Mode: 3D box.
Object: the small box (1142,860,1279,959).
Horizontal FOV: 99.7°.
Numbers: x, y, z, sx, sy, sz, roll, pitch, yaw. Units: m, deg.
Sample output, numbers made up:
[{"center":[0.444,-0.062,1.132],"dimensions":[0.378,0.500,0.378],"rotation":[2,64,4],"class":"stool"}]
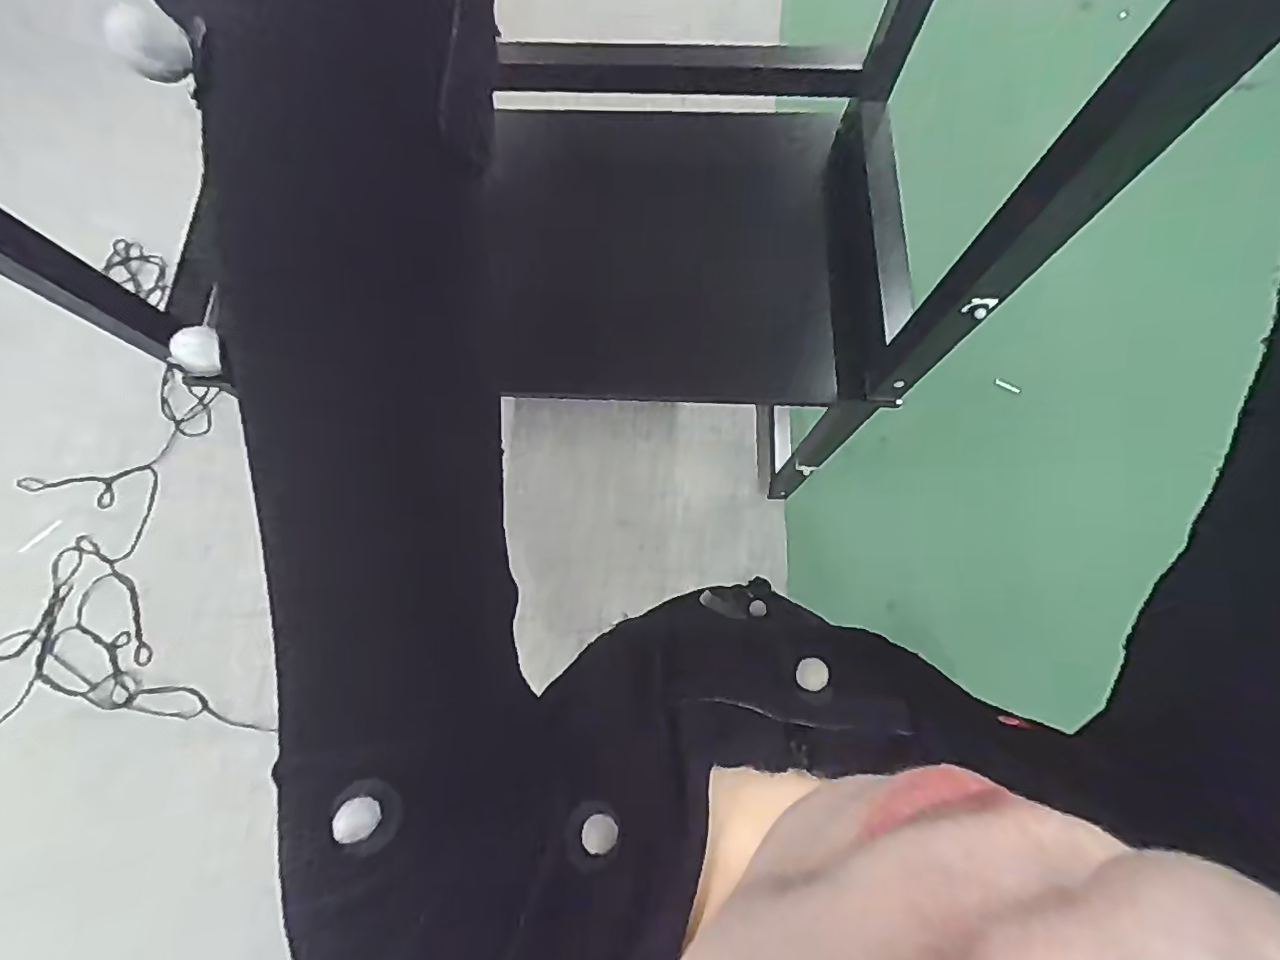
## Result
[{"center":[0.678,0.537,0.564],"dimensions":[0.168,0.176,0.179],"rotation":[10,76,4],"class":"small box"}]
